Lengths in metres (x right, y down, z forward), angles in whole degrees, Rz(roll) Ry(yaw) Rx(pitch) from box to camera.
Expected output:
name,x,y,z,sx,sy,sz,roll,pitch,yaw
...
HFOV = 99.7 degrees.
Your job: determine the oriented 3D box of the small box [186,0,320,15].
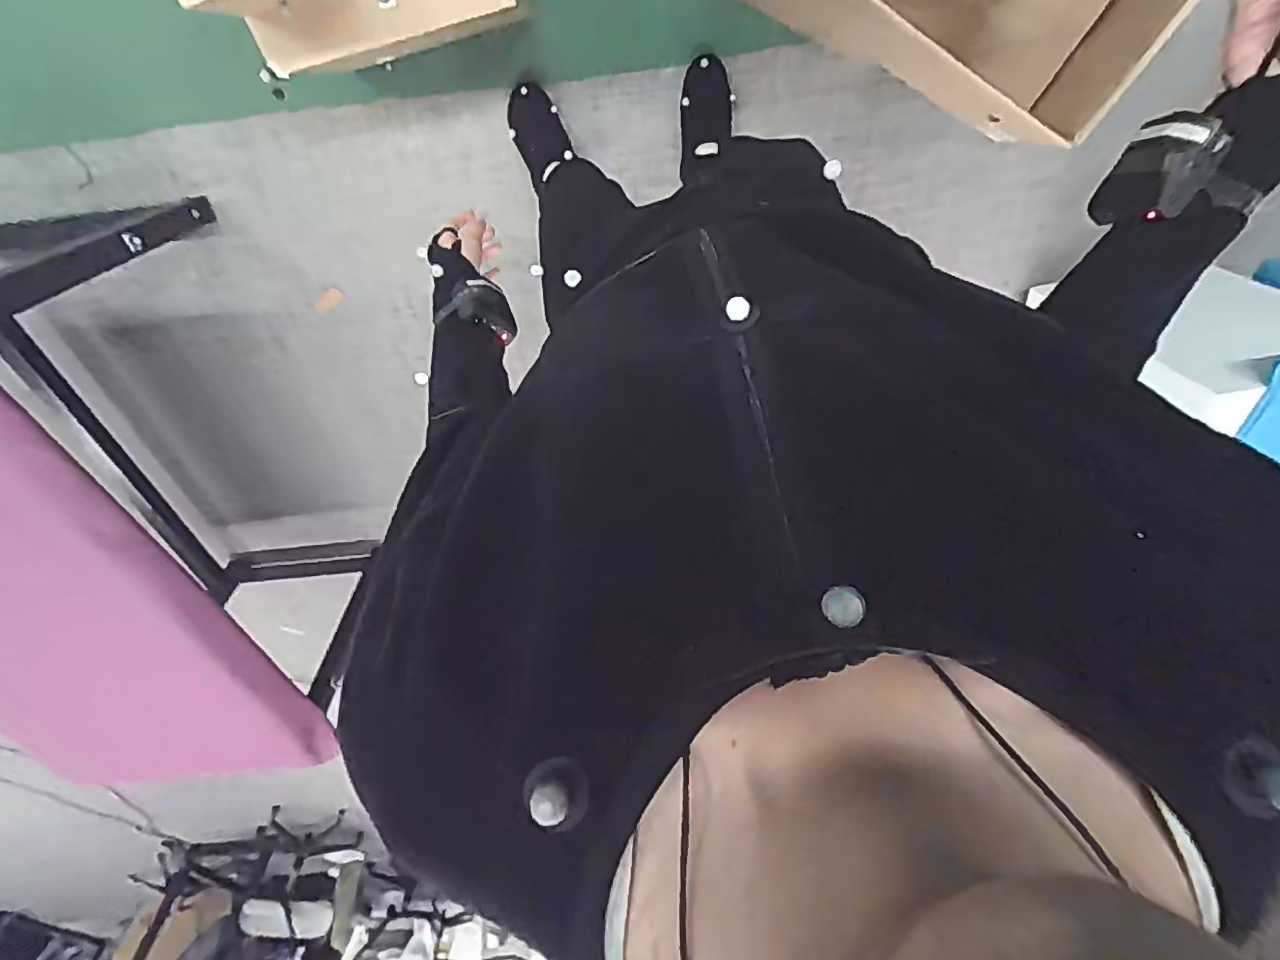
name,x,y,z,sx,sy,sz,roll,pitch,yaw
small box,-0.504,-0.720,0.680,0.168,0.176,0.179,-11,129,5
